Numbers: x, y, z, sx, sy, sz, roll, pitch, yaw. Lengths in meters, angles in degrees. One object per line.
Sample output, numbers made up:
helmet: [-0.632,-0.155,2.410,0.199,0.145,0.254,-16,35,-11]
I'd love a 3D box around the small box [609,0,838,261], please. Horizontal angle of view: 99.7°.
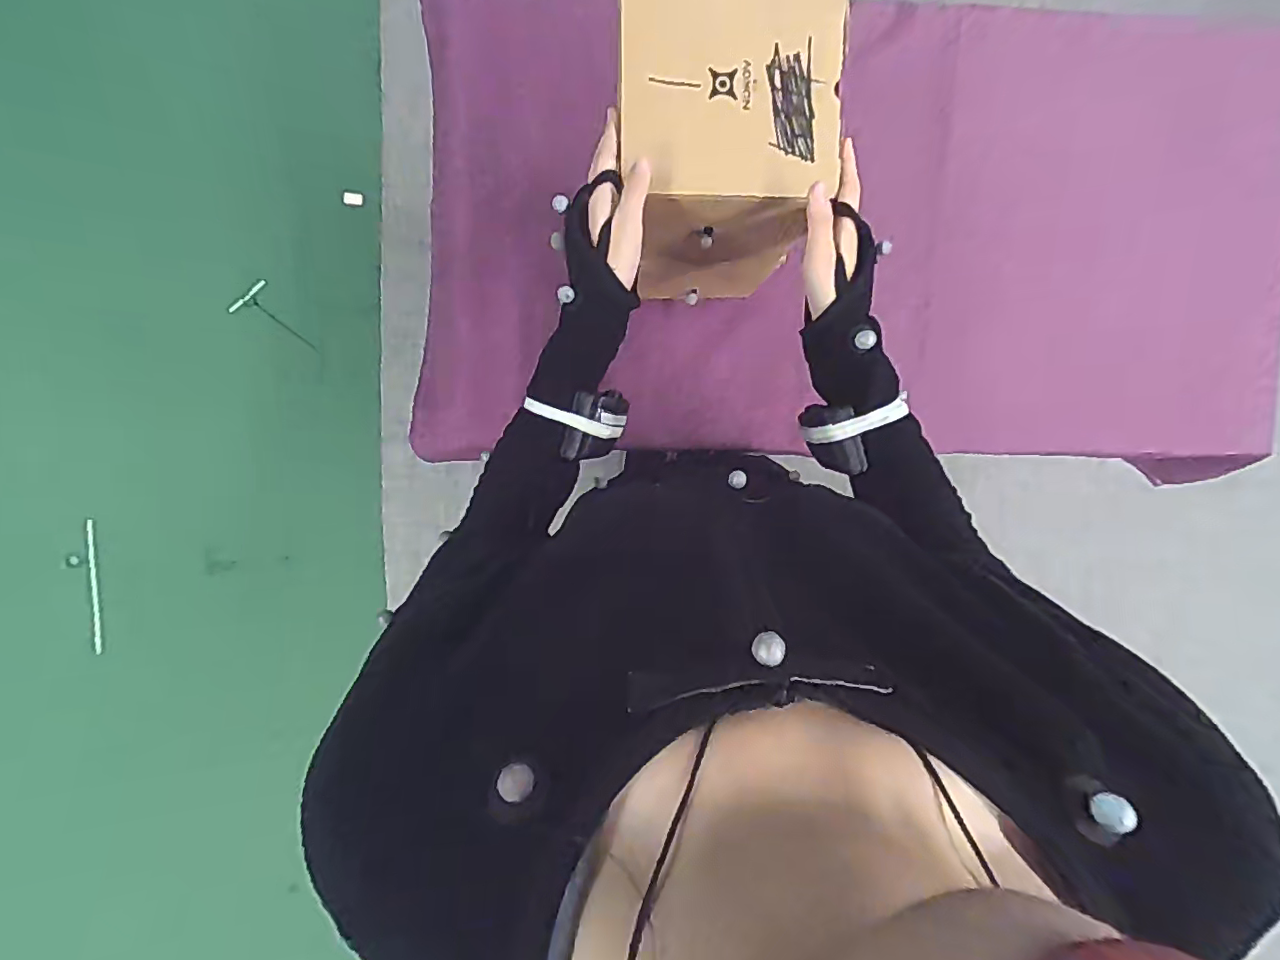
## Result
small box: [0.060,-0.311,0.497,0.179,0.176,0.168,0,96,-2]

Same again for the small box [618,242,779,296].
small box: [0.062,-0.330,0.665,0.179,0.176,0.168,-2,96,-2]
